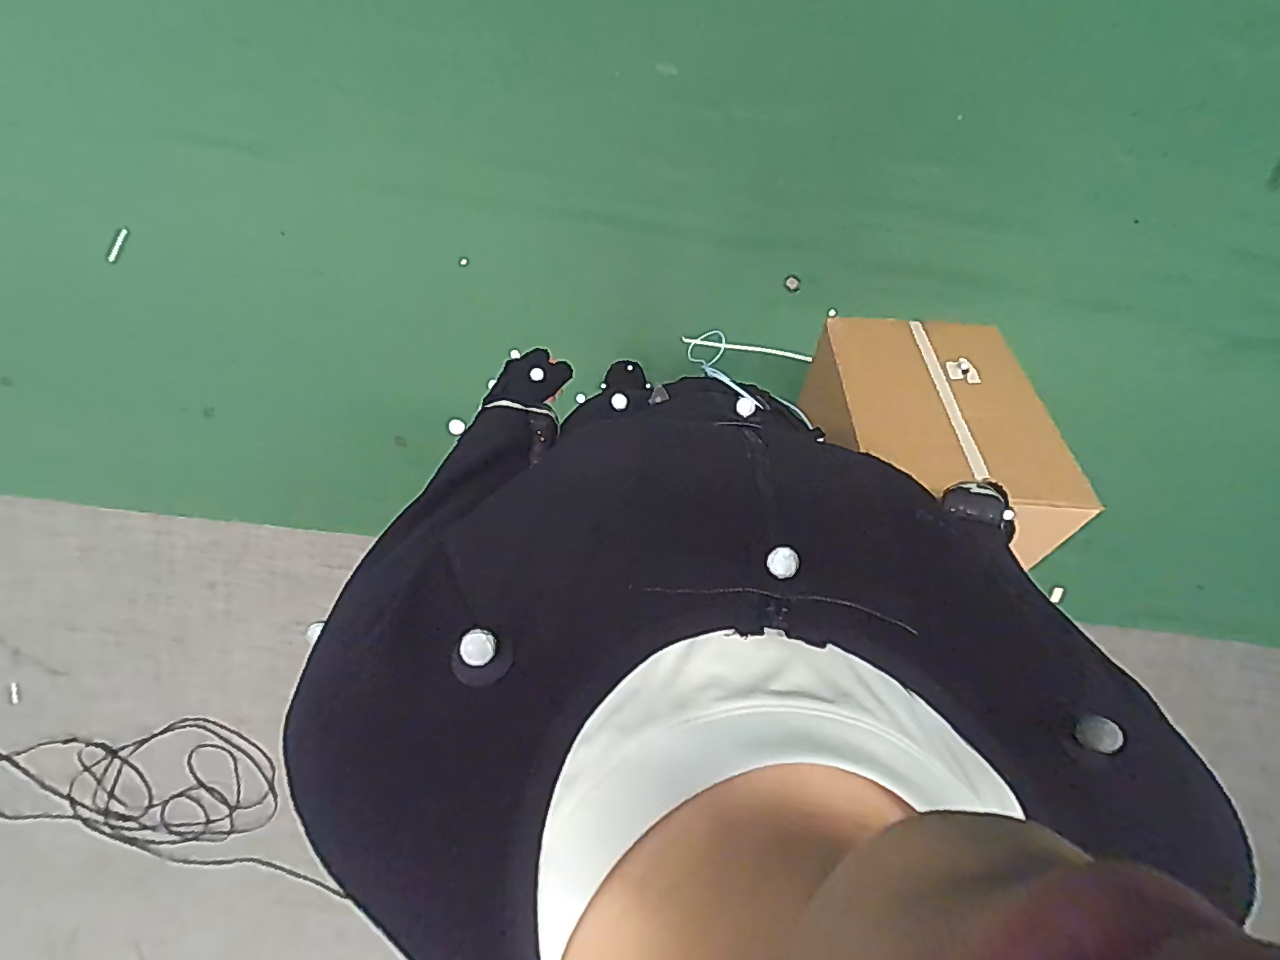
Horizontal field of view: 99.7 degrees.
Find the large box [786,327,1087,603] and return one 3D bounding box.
[{"bbox_3d":[0.472,-0.024,0.984,0.320,0.408,0.320,4,141,0],"label":"large box"}]
